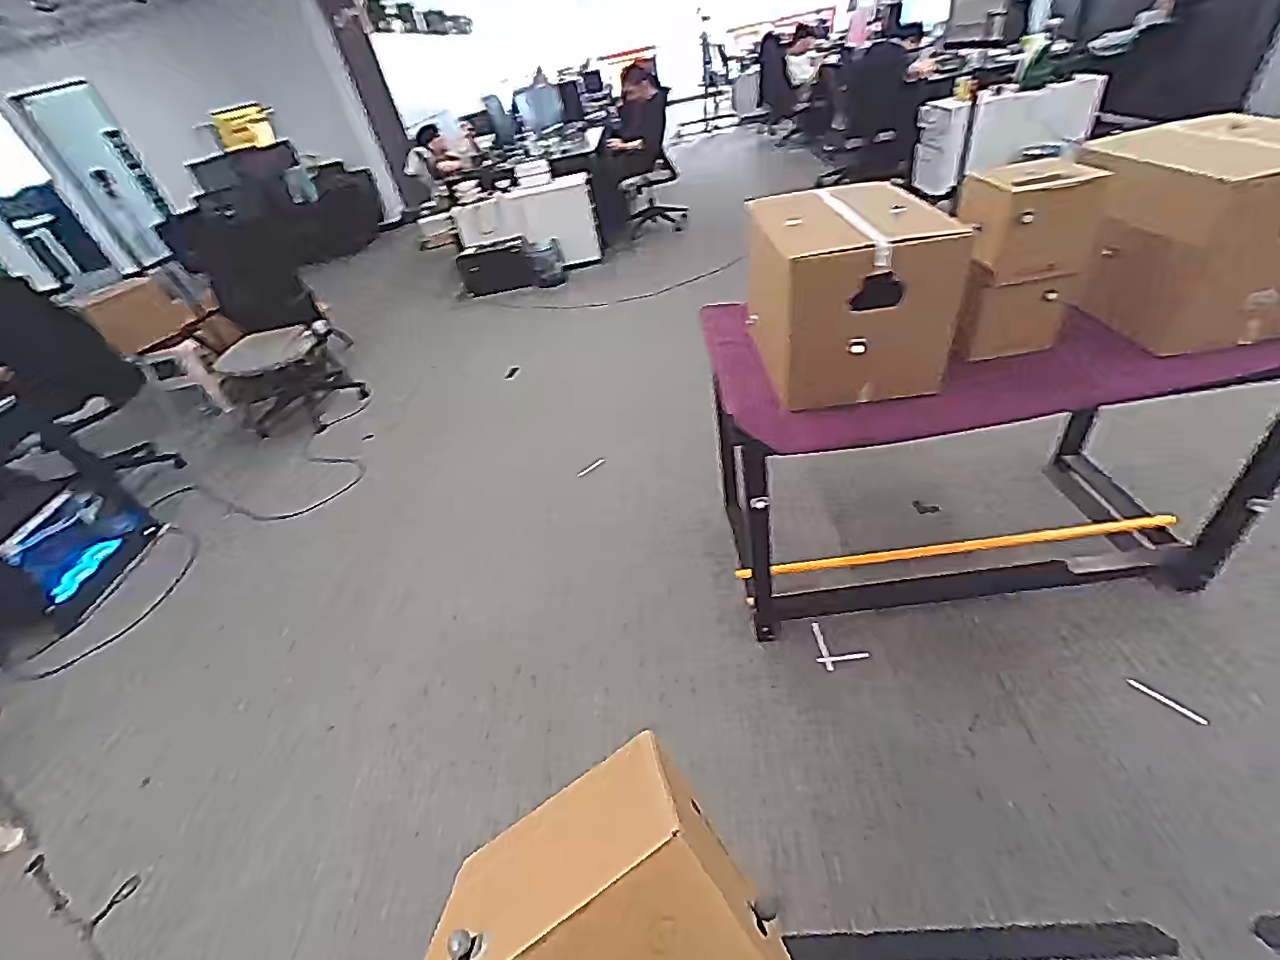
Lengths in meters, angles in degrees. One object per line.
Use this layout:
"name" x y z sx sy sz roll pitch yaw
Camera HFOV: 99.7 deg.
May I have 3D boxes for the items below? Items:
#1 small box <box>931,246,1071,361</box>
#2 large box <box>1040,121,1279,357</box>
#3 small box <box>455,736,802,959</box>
"small box" 0.752 -0.374 1.150 0.179 0.176 0.168 -10 38 5
"large box" 1.098 -0.492 1.087 0.320 0.320 0.408 -9 38 5
"small box" -0.003 0.300 0.340 0.179 0.176 0.168 -33 86 -6
